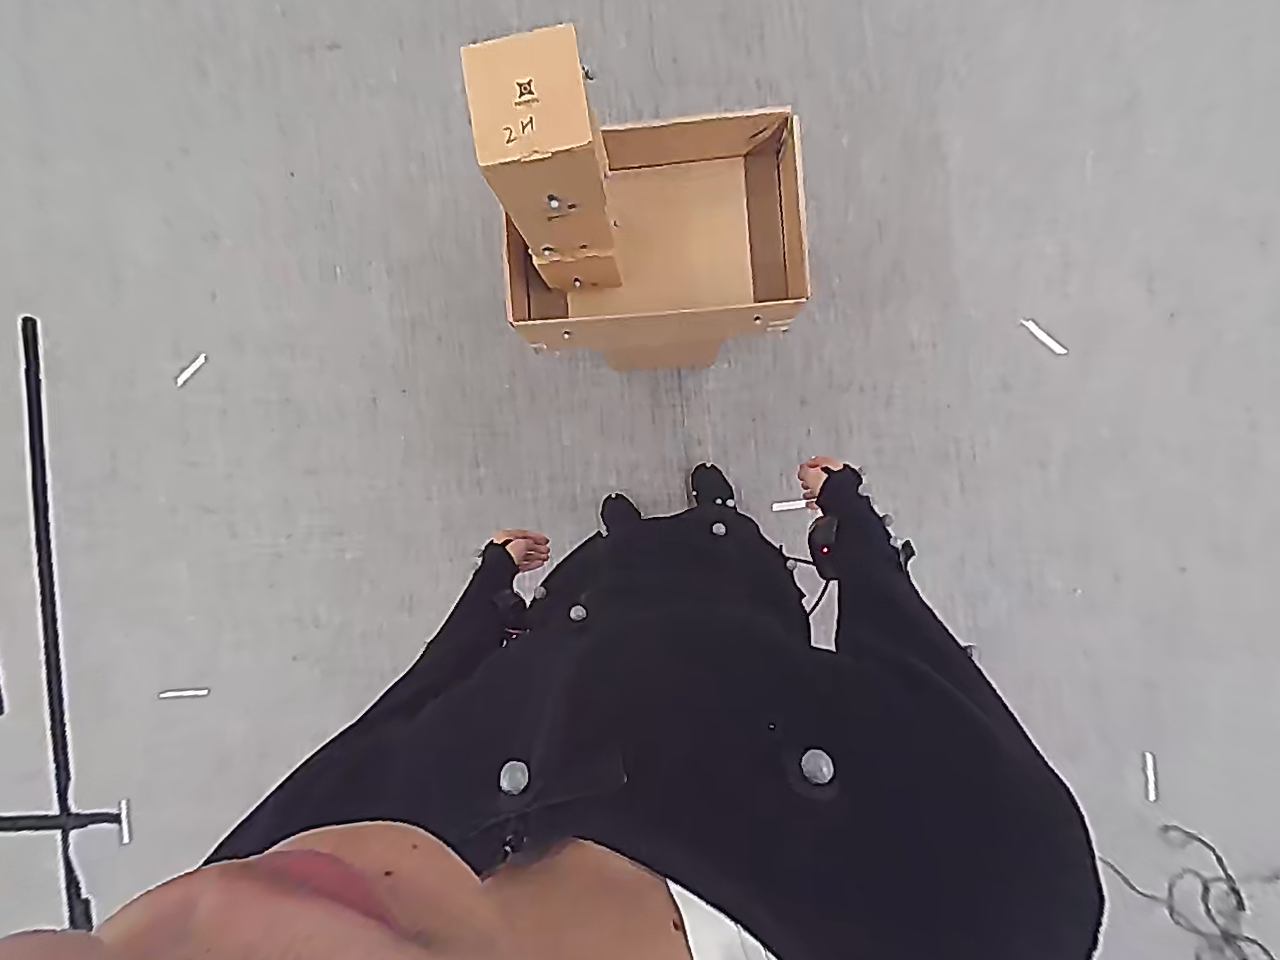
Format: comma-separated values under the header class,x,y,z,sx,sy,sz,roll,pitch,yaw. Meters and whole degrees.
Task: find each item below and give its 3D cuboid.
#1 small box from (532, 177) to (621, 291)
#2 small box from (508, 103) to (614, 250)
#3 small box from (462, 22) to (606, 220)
class,x,y,z,sx,sy,sz,roll,pitch,yaw
small box,-0.133,-0.525,1.151,0.168,0.176,0.179,-5,90,4
small box,-0.142,-0.538,0.988,0.168,0.176,0.179,-5,89,3
small box,-0.151,-0.531,0.824,0.168,0.176,0.179,-9,90,4
